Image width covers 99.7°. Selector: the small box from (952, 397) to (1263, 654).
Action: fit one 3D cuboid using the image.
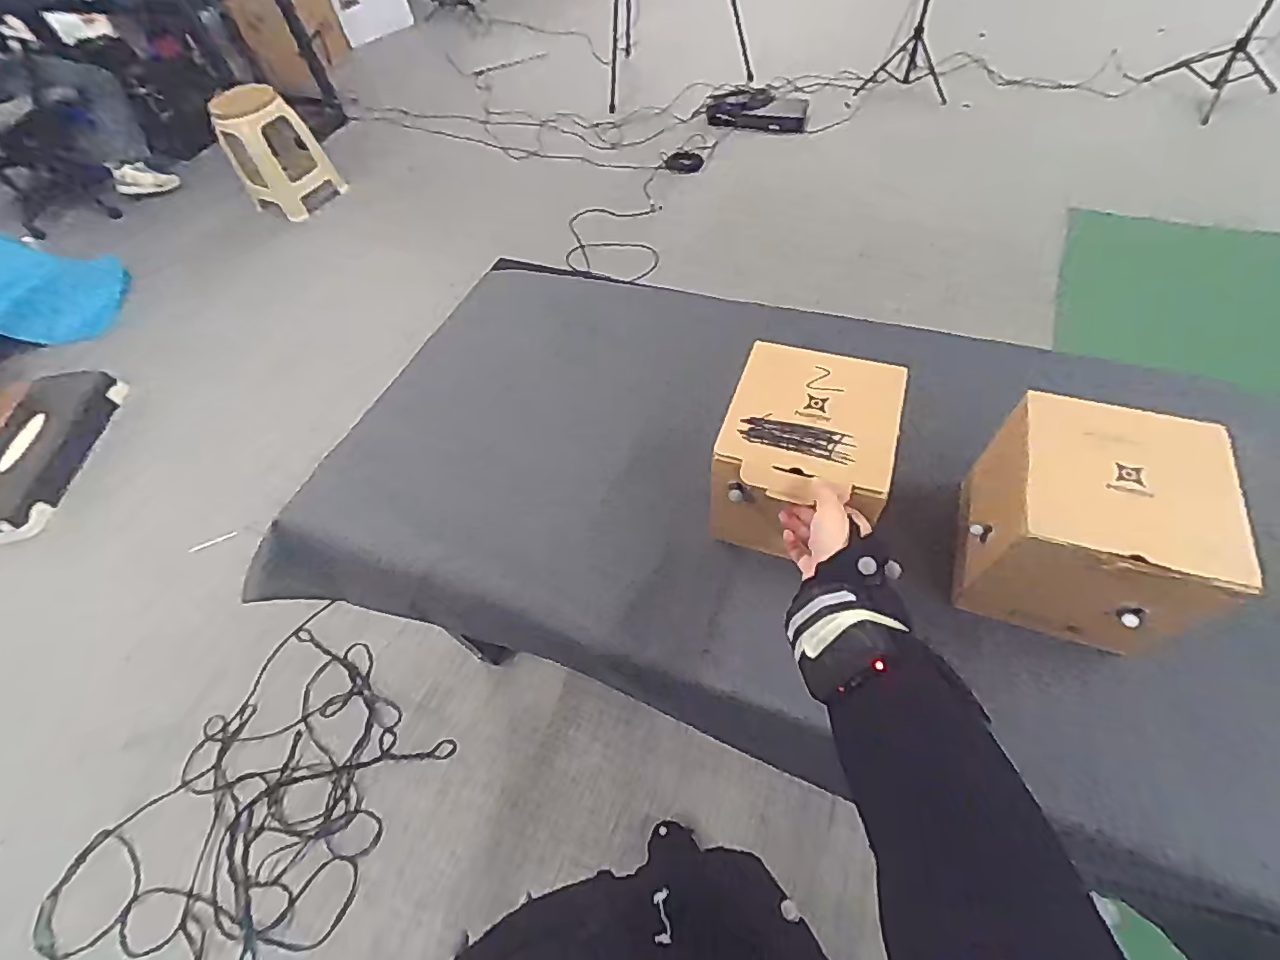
[{"bbox_3d":[0.433,0.050,0.539,0.168,0.176,0.179,15,57,14],"label":"small box"}]
